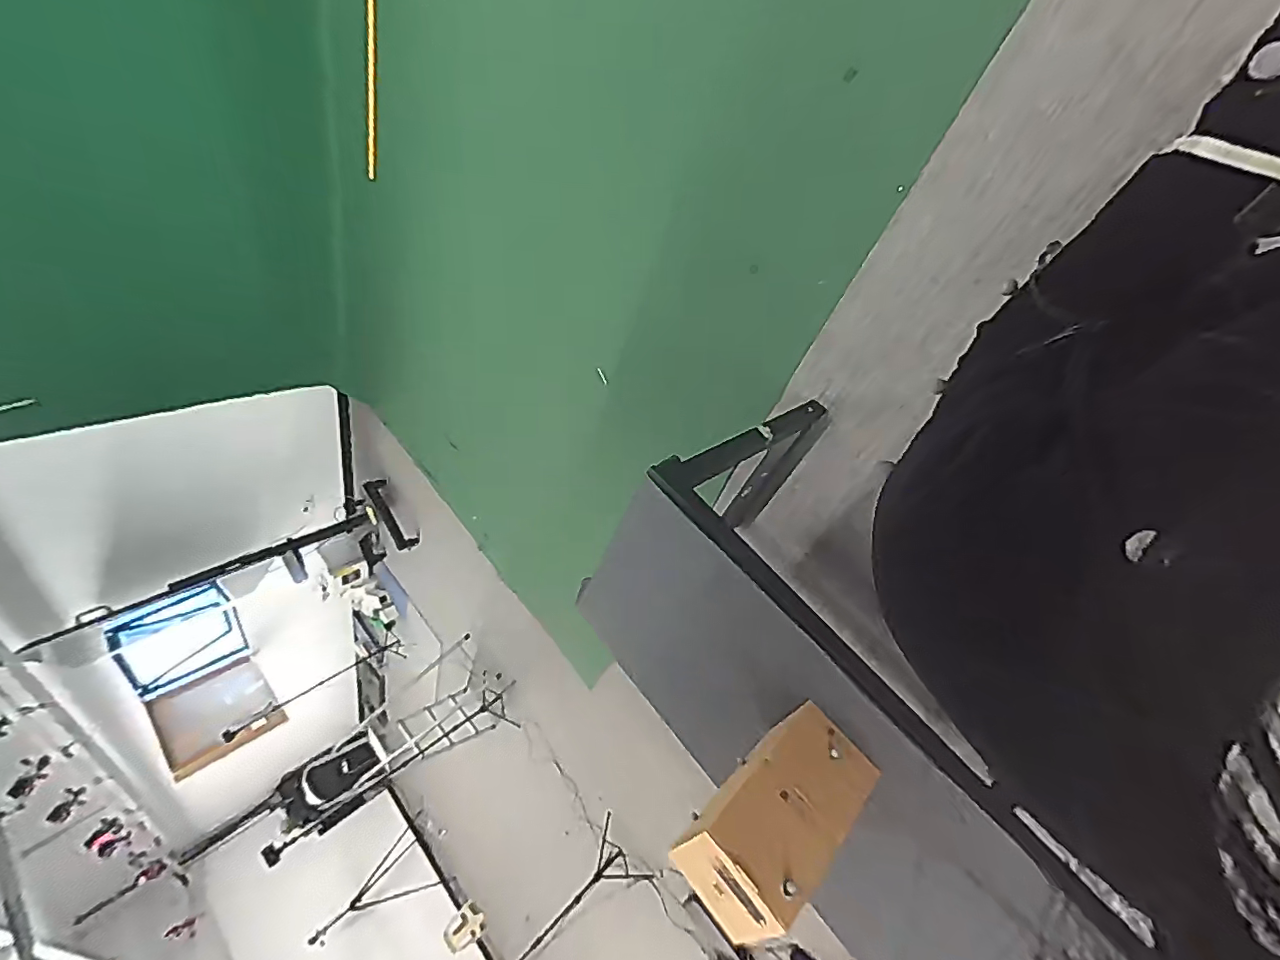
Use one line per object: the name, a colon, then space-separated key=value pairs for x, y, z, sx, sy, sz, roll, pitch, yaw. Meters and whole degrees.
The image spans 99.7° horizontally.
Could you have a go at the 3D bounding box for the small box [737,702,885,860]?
small box: x=0.319 y=0.553 z=1.005 sx=0.168 sy=0.176 sz=0.179 roll=44 pitch=135 yaw=21
